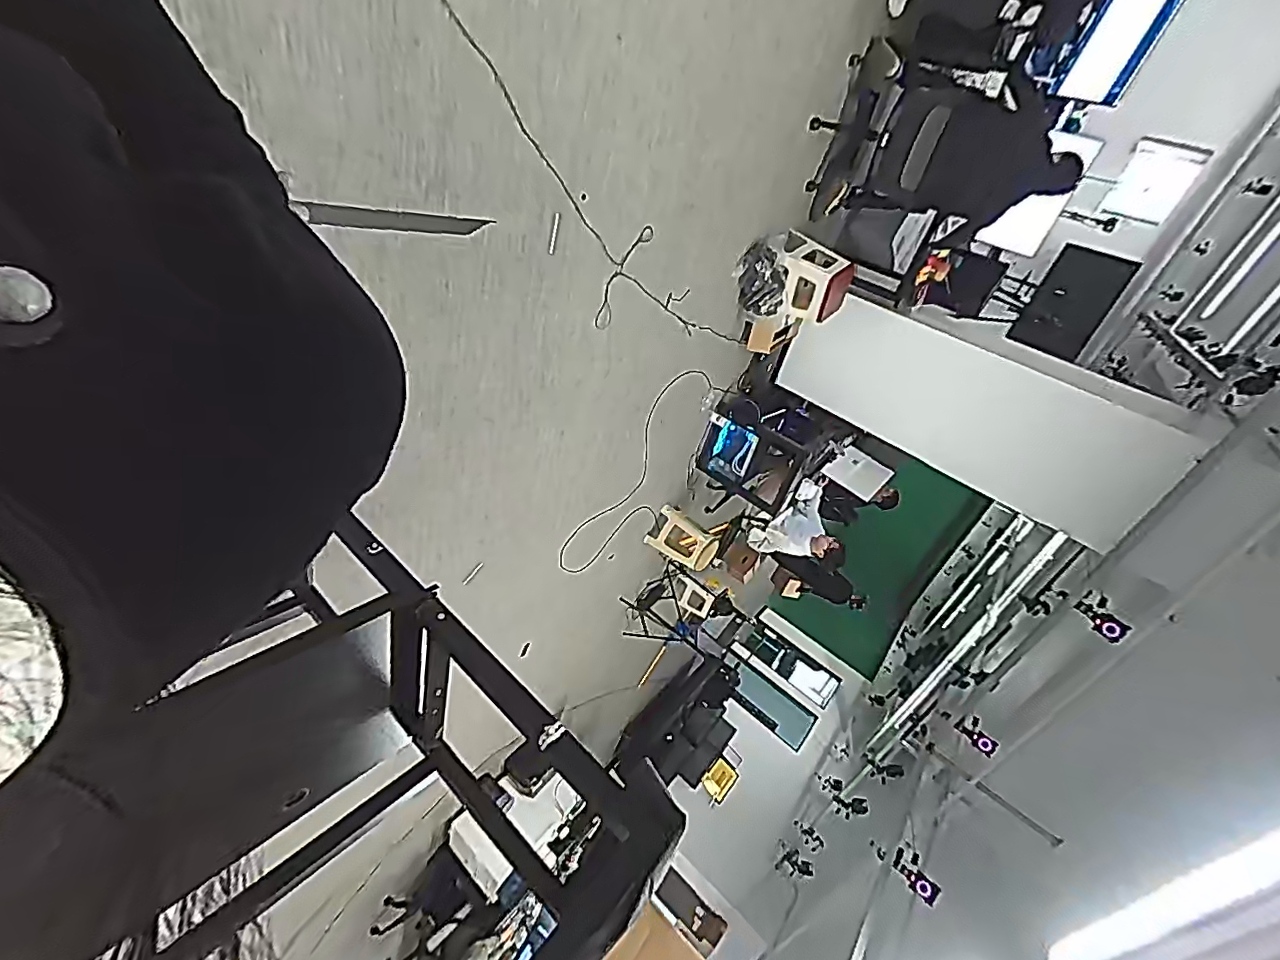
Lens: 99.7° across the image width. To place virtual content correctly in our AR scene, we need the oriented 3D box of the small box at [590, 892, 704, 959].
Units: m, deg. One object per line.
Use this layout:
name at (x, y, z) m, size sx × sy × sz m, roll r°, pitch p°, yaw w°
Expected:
small box at (-0.007, 0.833, 0.879) m, size 0.179 × 0.176 × 0.168 m, roll -16°, pitch 138°, yaw -53°
